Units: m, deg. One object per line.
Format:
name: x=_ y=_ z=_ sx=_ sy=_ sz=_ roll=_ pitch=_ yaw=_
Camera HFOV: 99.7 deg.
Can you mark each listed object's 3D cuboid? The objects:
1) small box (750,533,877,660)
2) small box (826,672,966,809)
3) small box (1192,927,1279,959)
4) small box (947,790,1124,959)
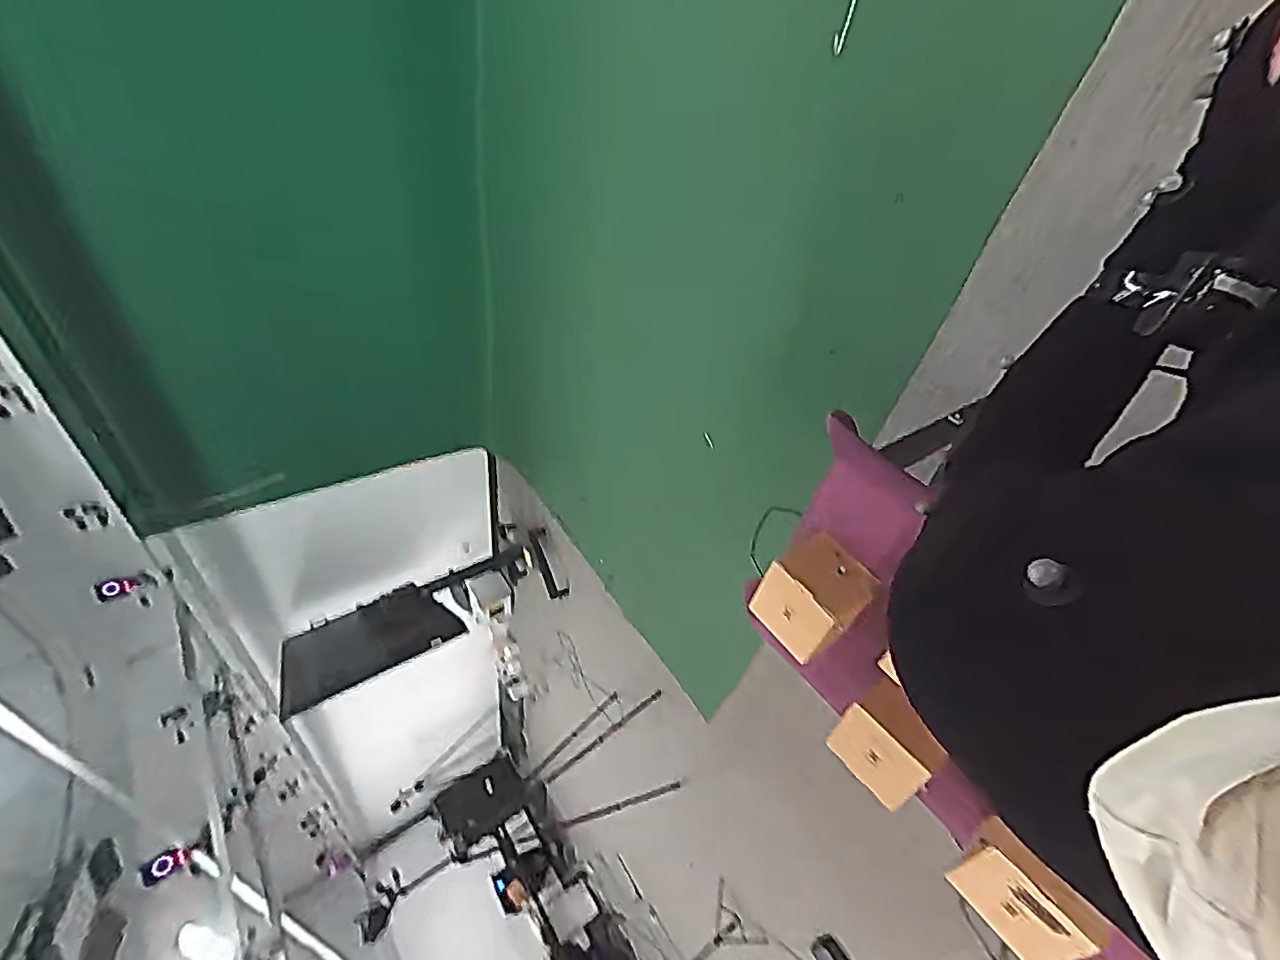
small box: x=0.372 y=0.247 z=1.165 sx=0.168 sy=0.176 sz=0.179 roll=46 pitch=141 yaw=32
small box: x=0.519 y=0.512 z=1.094 sx=0.168 sy=0.176 sz=0.179 roll=43 pitch=139 yaw=34
small box: x=0.858 y=0.738 z=0.704 sx=0.168 sy=0.176 sz=0.179 roll=45 pitch=141 yaw=32
small box: x=0.685 y=0.681 z=0.937 sx=0.168 sy=0.176 sz=0.179 roll=45 pitch=141 yaw=34
